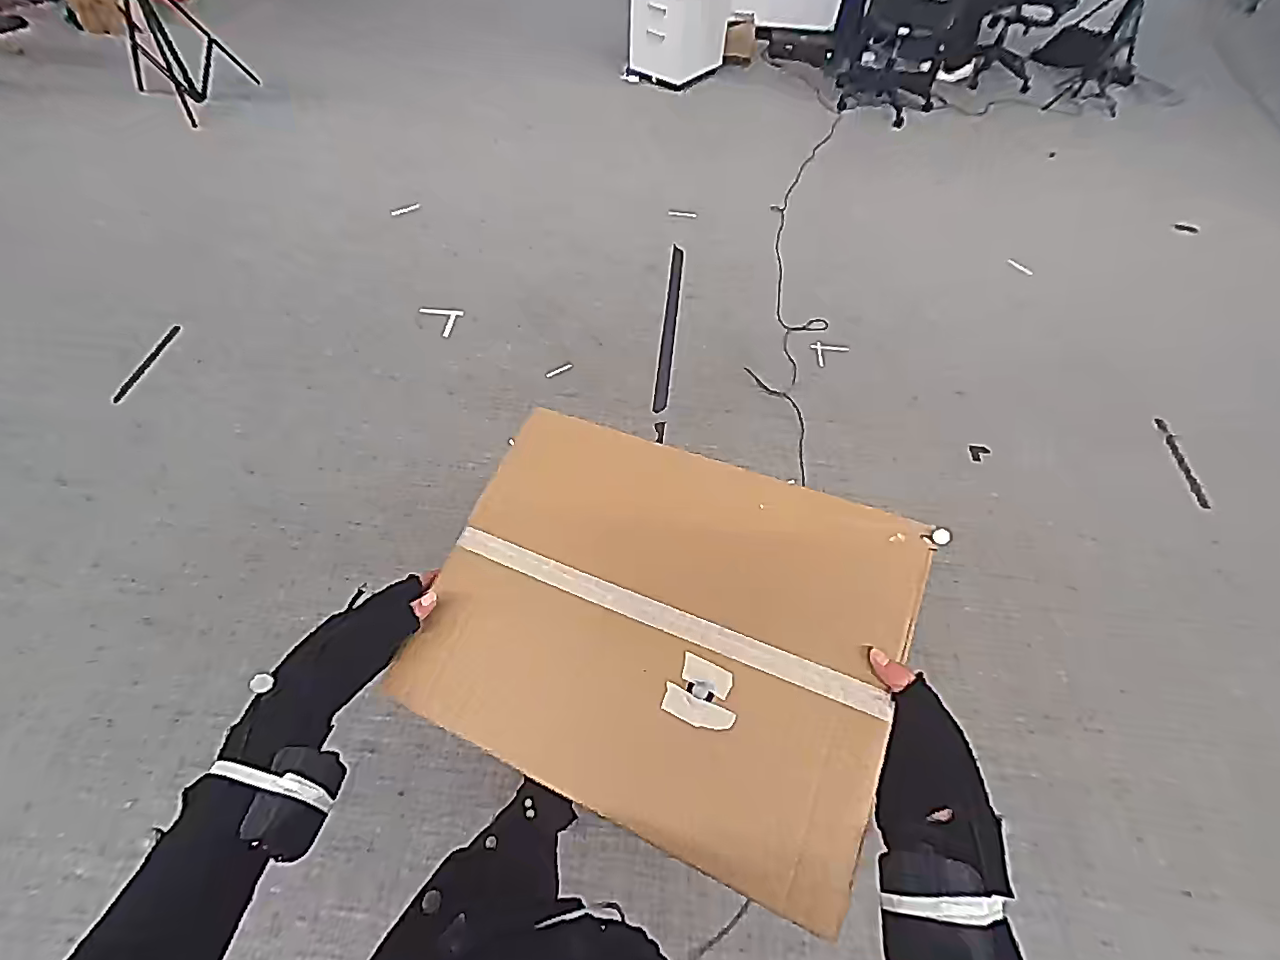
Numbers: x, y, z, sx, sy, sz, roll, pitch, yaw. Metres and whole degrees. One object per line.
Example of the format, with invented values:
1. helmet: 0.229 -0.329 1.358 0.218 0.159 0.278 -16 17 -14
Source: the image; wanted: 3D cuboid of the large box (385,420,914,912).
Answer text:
1. large box: 0.025 0.180 0.616 0.408 0.320 0.320 18 70 16
